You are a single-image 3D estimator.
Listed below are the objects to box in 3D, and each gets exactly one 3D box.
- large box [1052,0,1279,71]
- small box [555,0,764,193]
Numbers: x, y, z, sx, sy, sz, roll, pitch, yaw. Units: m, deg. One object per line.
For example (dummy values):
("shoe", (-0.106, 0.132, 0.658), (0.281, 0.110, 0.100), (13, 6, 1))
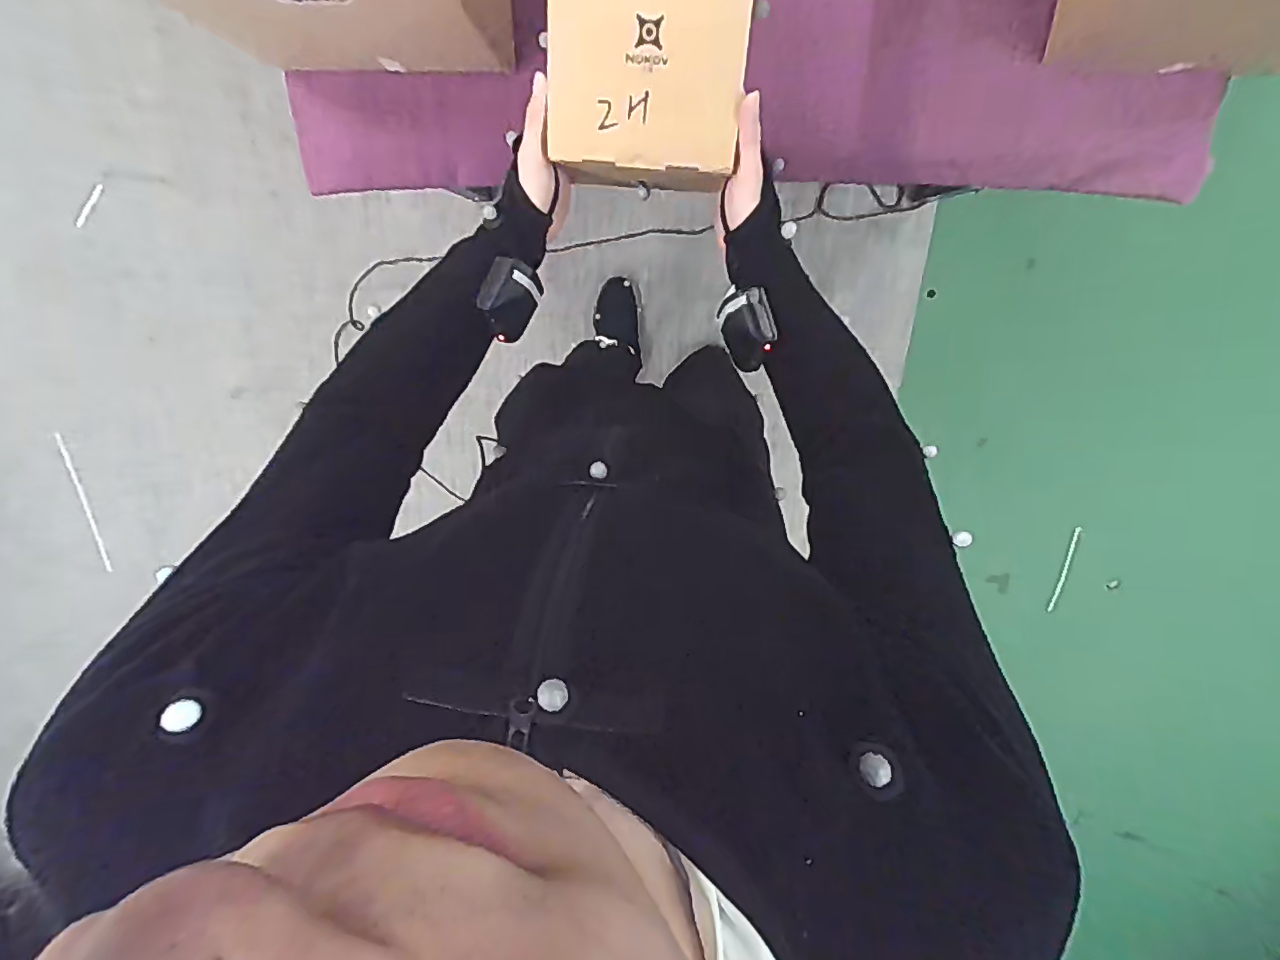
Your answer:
("large box", (0.670, -0.656, 0.478), (0.320, 0.320, 0.408), (2, 111, 1))
("small box", (0.016, -0.386, 0.512), (0.168, 0.176, 0.179), (5, 112, 1))
